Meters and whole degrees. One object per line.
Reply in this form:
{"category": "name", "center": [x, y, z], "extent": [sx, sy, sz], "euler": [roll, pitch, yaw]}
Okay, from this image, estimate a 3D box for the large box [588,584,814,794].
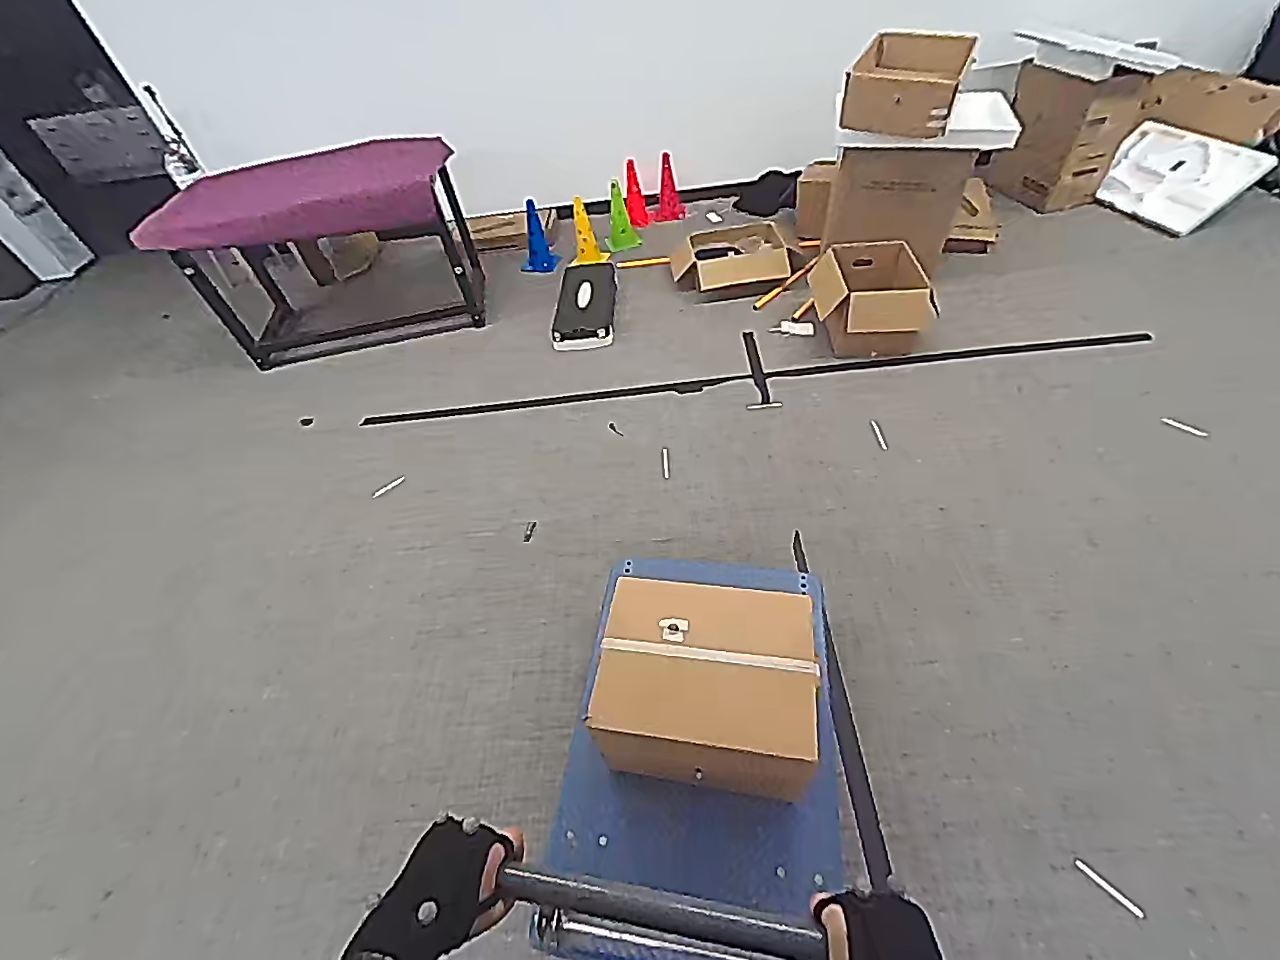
{"category": "large box", "center": [0.141, 0.444, 1.153], "extent": [0.408, 0.320, 0.320], "euler": [3, 48, 12]}
